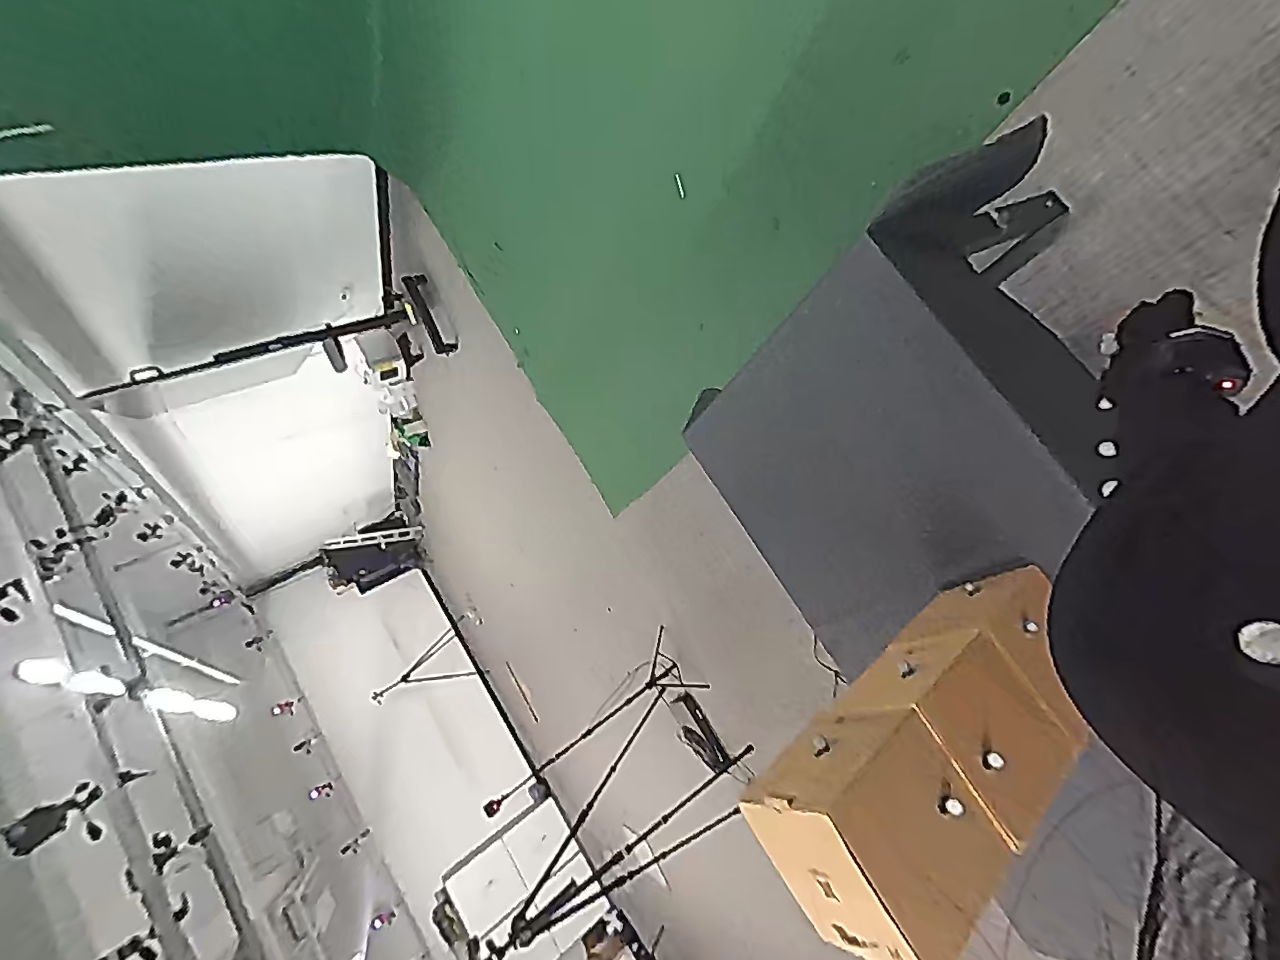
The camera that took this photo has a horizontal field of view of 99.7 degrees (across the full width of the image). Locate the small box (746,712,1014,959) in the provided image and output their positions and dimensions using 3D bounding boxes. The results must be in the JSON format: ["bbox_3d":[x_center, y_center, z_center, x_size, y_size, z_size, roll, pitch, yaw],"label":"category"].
[{"bbox_3d":[0.260,0.377,0.601,0.179,0.176,0.168,58,149,10],"label":"small box"}]

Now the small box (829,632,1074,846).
[{"bbox_3d":[0.387,0.311,0.682,0.179,0.176,0.168,57,148,11],"label":"small box"}]
